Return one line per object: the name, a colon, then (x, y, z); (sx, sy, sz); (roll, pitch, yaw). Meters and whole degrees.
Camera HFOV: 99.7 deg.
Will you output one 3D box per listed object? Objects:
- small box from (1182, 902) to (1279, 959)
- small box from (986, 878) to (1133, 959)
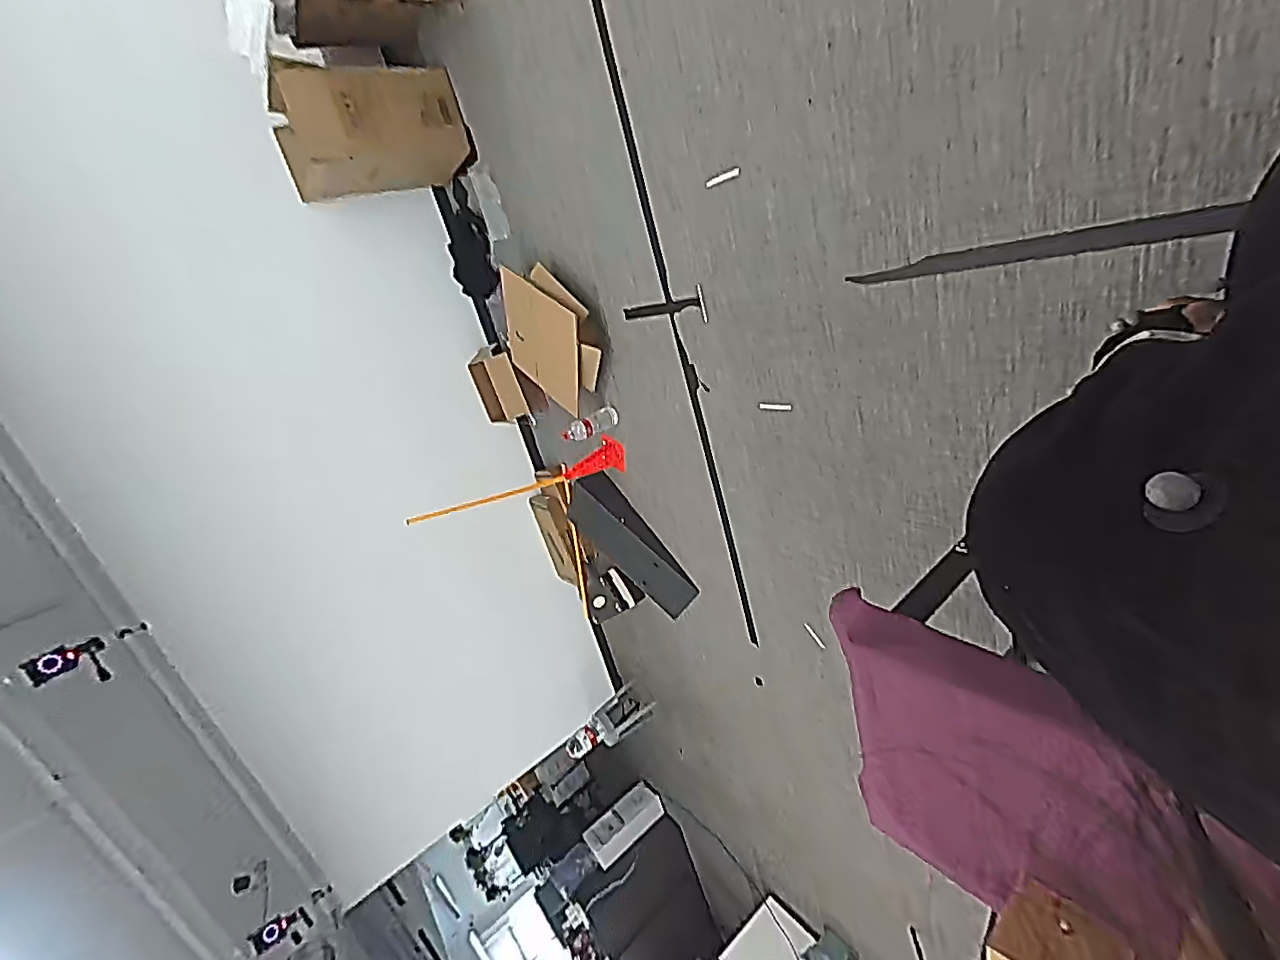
small box: (0.828, 0.724, 0.714); (0.168, 0.176, 0.179); (14, 127, 53)
small box: (0.747, 0.879, 0.966); (0.168, 0.176, 0.179); (12, 123, 53)
